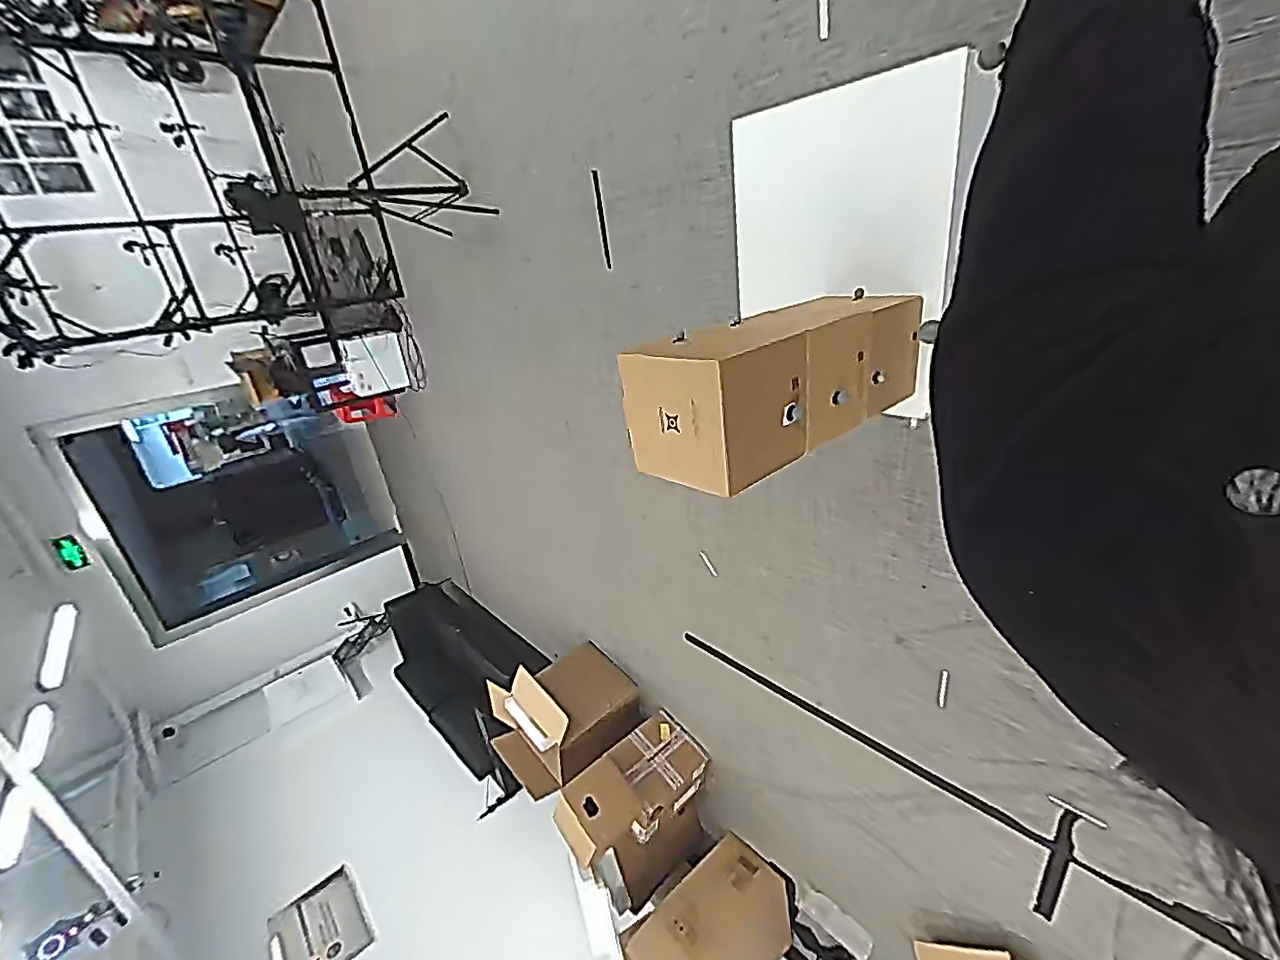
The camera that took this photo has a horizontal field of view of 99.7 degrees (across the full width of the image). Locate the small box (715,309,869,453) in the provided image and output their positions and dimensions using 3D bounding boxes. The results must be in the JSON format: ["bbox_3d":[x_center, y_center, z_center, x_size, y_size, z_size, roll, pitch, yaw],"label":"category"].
[{"bbox_3d":[0.217,-0.155,0.798,0.179,0.176,0.168,18,124,47],"label":"small box"}]

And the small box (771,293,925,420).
[{"bbox_3d":[0.337,-0.212,0.893,0.179,0.176,0.168,20,125,46],"label":"small box"}]

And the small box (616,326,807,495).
[{"bbox_3d":[0.095,-0.101,0.705,0.179,0.176,0.168,17,124,46],"label":"small box"}]
